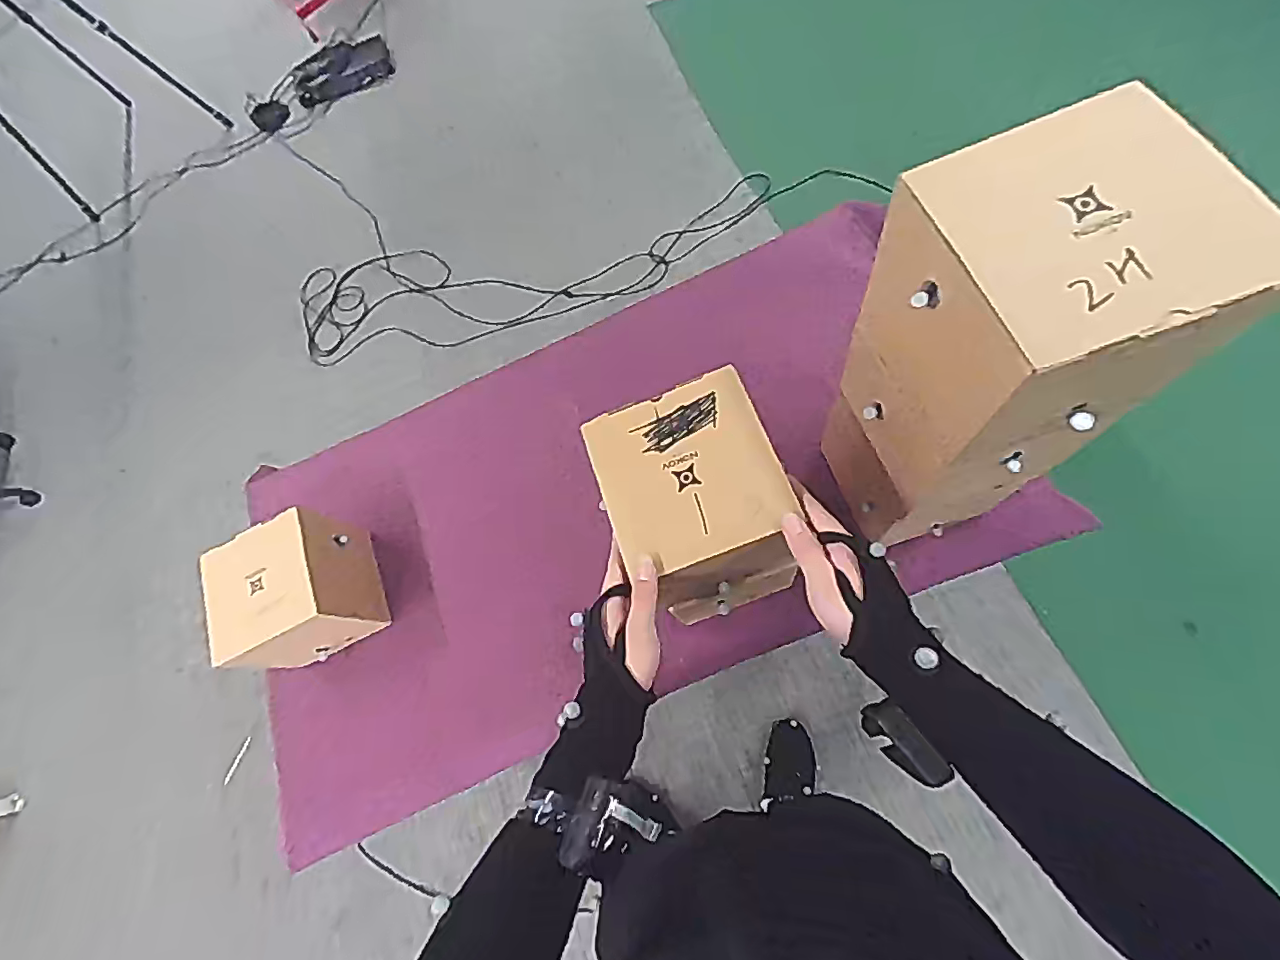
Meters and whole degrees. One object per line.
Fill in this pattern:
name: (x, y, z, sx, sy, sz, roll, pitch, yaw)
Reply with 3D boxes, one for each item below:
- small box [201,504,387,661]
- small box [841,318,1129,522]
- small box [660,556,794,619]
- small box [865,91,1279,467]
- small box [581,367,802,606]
small box: (-0.525, 0.166, 0.836, 0.168, 0.176, 0.179, -26, 68, 2)
small box: (0.328, -0.078, 0.564, 0.168, 0.176, 0.179, -20, 67, 6)
small box: (0.097, 0.081, 0.737, 0.168, 0.176, 0.179, -22, 66, 4)
small box: (0.294, -0.135, 0.413, 0.168, 0.176, 0.179, -19, 68, 6)
small box: (0.056, 0.018, 0.575, 0.168, 0.176, 0.179, -21, 67, 5)
